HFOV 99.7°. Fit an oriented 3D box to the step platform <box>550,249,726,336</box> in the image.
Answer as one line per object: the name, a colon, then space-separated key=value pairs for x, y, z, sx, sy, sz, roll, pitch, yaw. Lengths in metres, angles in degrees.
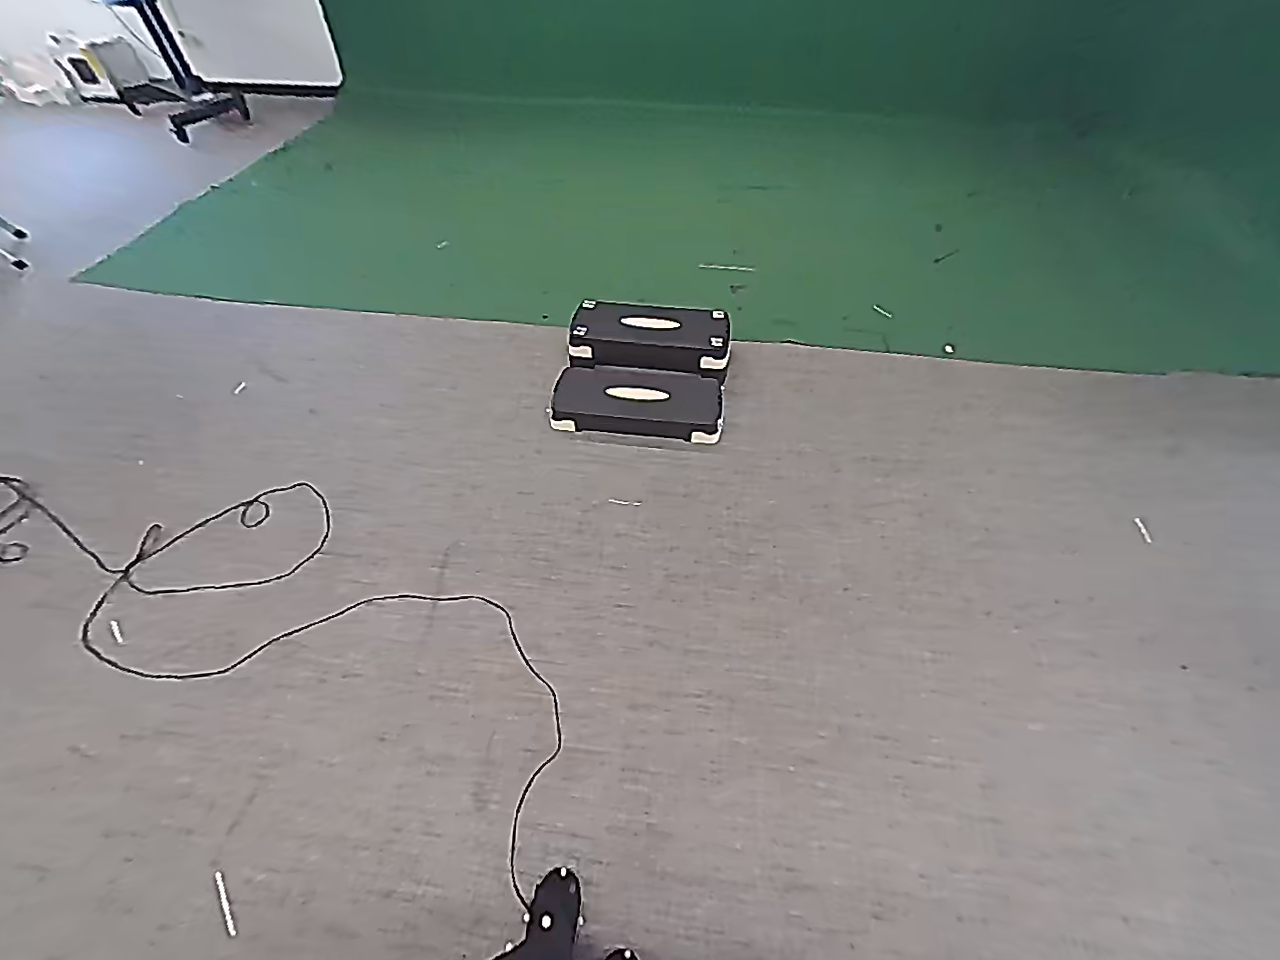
step platform: x=-0.007 y=-0.756 z=2.182 sx=0.684 sy=0.204 sz=0.286 roll=5 pitch=51 yaw=5
